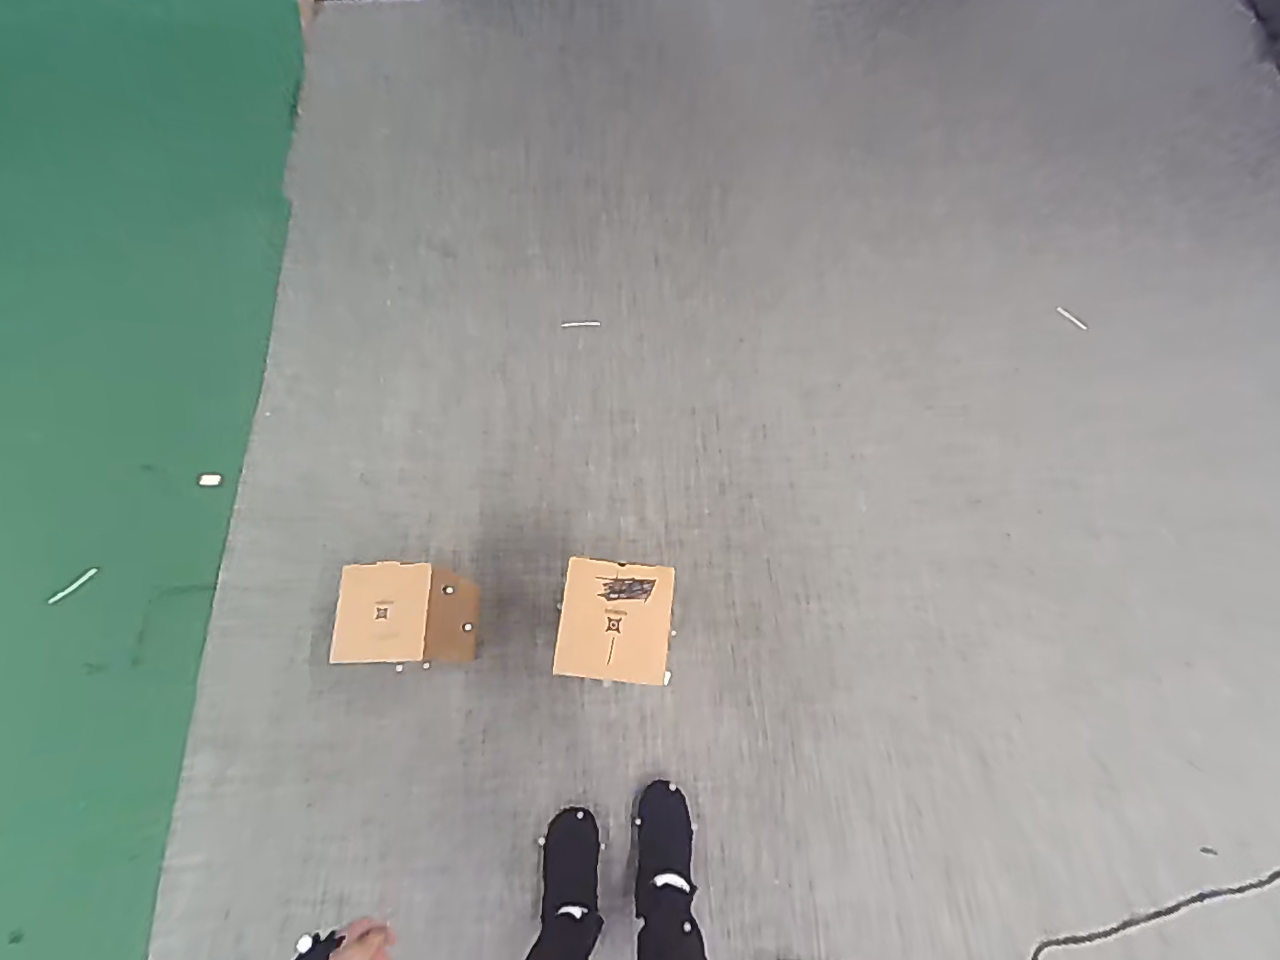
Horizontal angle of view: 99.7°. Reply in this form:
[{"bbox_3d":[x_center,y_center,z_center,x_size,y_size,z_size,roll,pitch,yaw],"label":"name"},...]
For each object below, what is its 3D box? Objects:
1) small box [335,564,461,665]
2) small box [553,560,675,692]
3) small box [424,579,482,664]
[{"bbox_3d":[-0.457,0.265,1.050,0.168,0.176,0.179,-2,73,0],"label":"small box"},{"bbox_3d":[-0.038,0.239,0.889,0.168,0.176,0.179,7,74,2],"label":"small box"},{"bbox_3d":[-0.461,0.313,1.206,0.168,0.176,0.179,1,73,0],"label":"small box"}]
